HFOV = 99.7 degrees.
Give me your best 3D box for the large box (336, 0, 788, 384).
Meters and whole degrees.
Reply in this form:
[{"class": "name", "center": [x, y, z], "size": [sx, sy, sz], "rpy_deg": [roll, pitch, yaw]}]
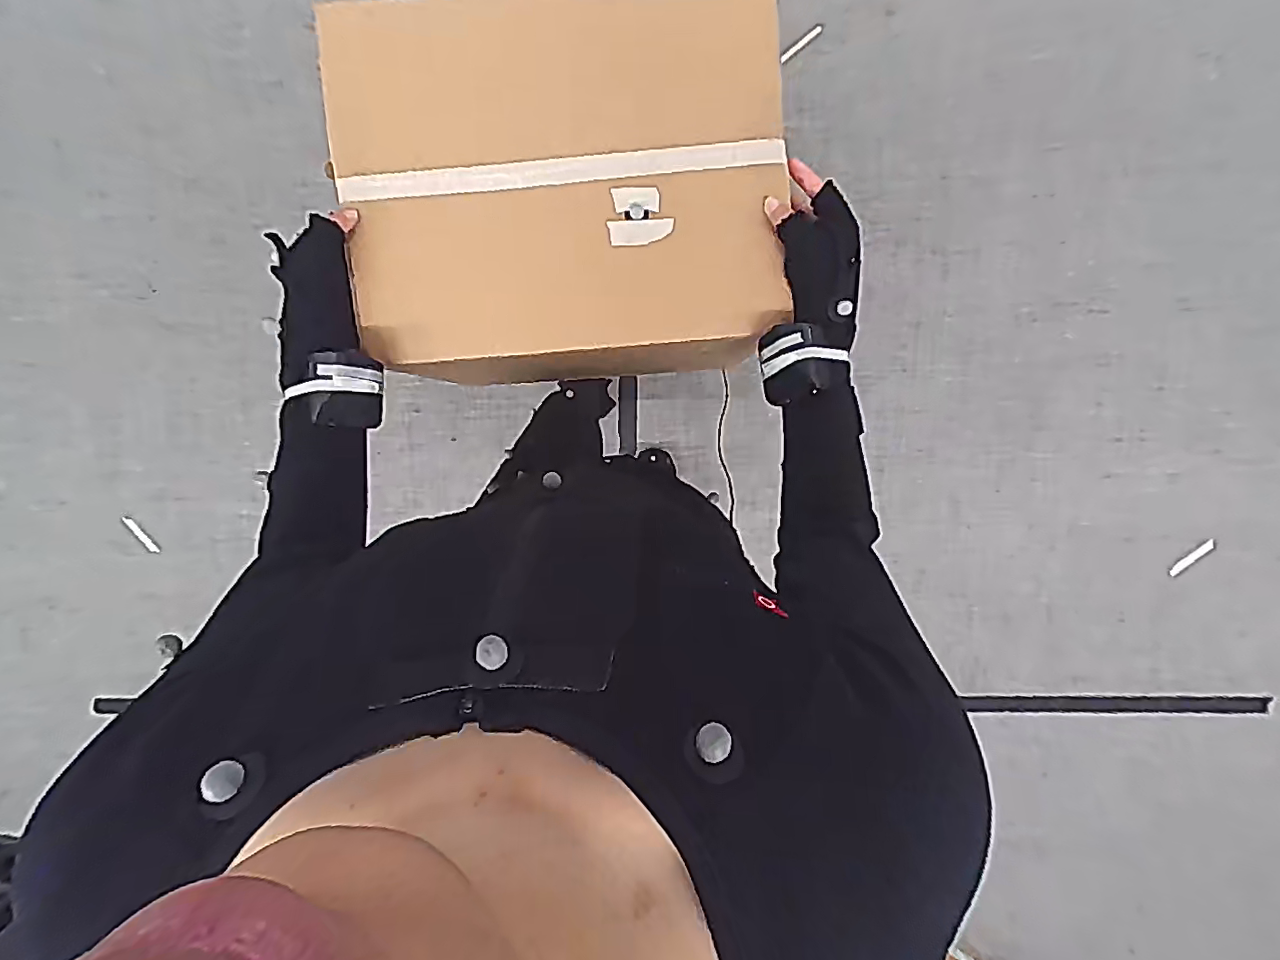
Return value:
[{"class": "large box", "center": [-0.070, -0.301, 0.655], "size": [0.408, 0.320, 0.320], "rpy_deg": [-5, 97, 0]}]
